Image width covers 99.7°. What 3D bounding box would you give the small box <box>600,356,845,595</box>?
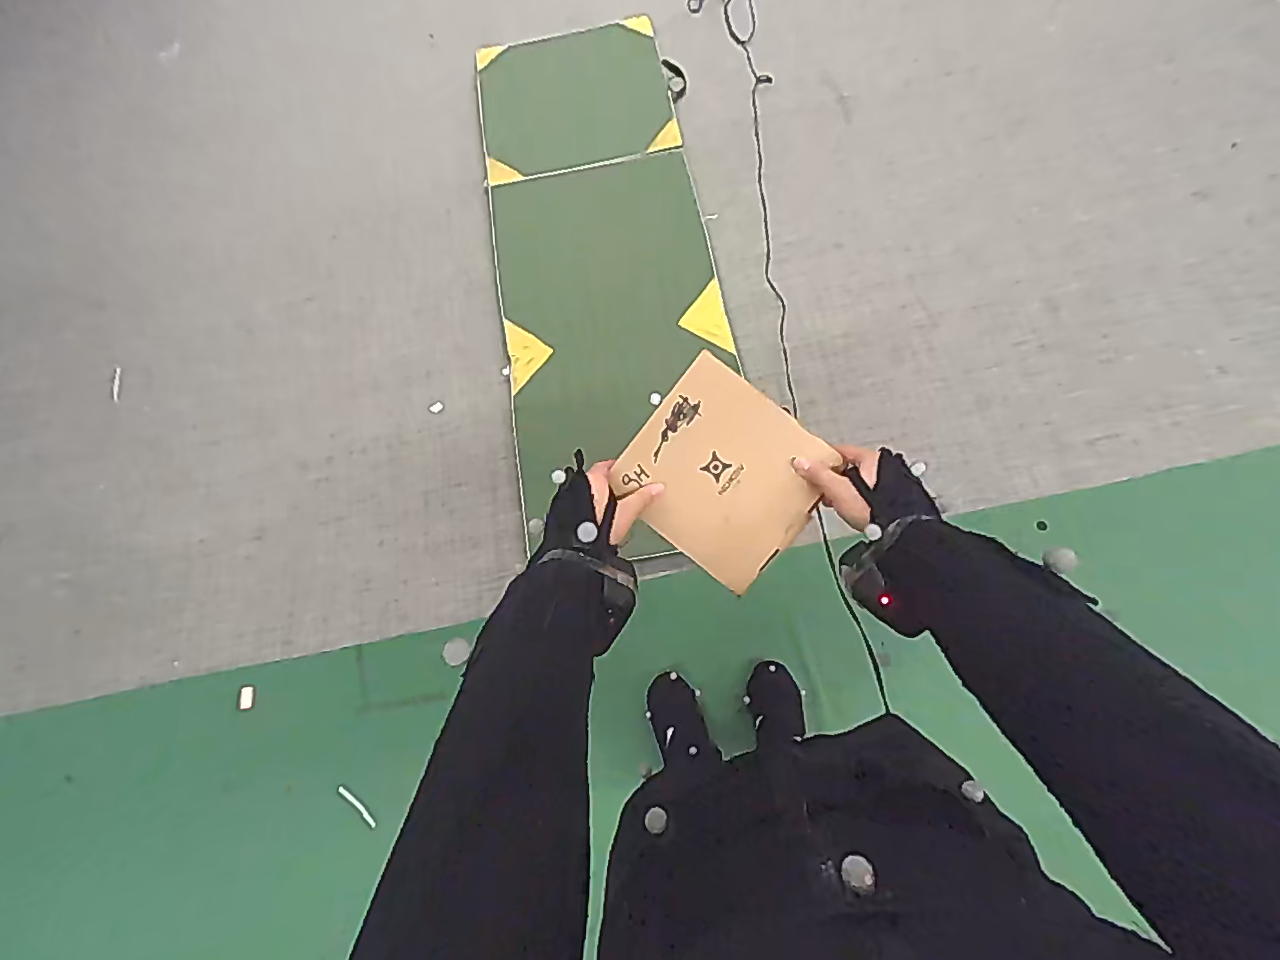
[{"bbox_3d":[0.082,-0.007,0.593,0.179,0.176,0.168,39,93,2],"label":"small box"}]
